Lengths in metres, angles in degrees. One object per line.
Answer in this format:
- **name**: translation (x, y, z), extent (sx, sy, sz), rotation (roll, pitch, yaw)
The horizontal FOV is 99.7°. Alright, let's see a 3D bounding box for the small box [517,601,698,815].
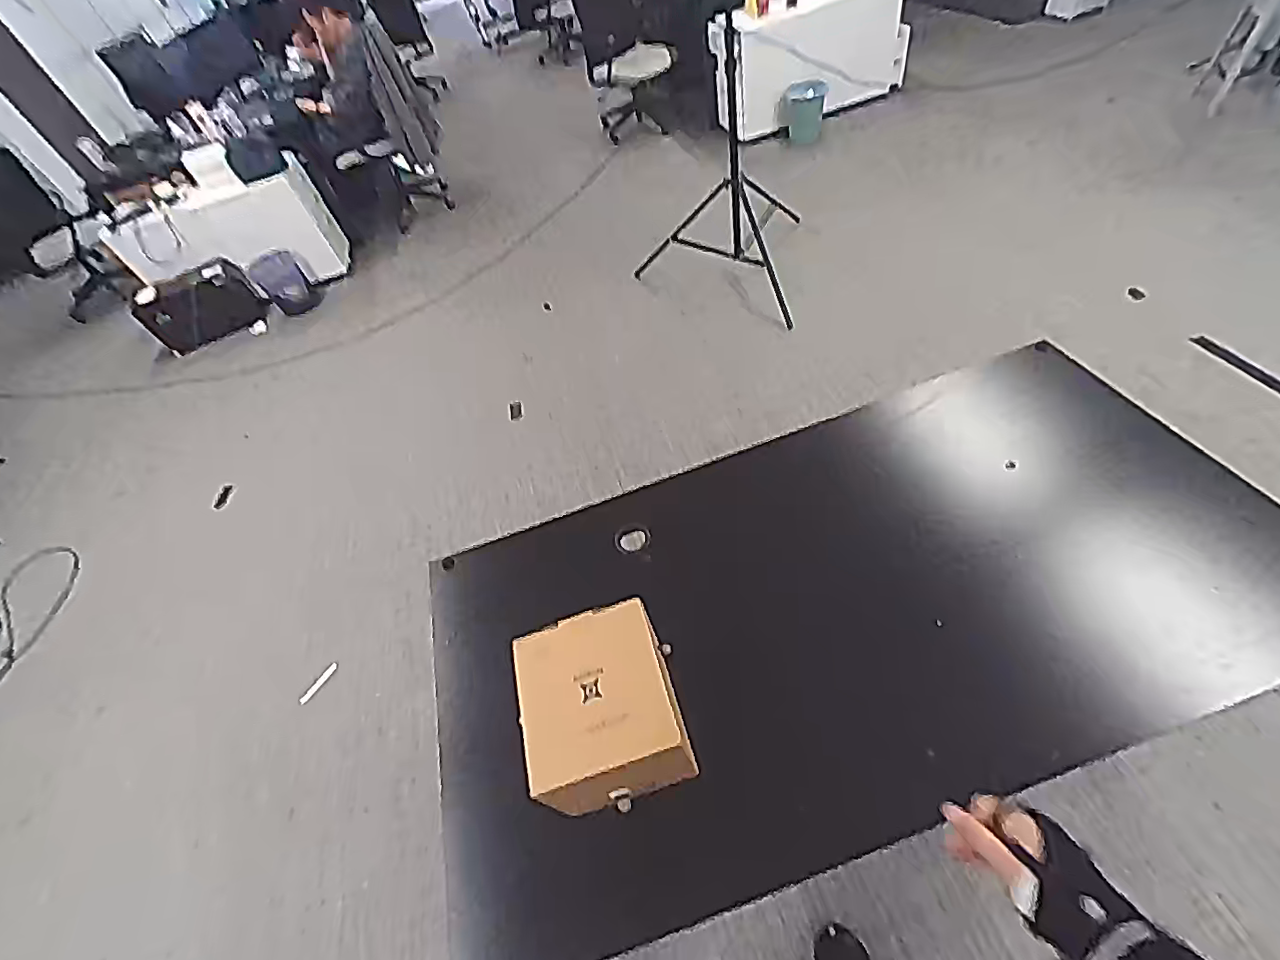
- **small box**: translation (-0.037, 0.283, 0.666), extent (0.168, 0.176, 0.179), rotation (-19, 51, -1)
